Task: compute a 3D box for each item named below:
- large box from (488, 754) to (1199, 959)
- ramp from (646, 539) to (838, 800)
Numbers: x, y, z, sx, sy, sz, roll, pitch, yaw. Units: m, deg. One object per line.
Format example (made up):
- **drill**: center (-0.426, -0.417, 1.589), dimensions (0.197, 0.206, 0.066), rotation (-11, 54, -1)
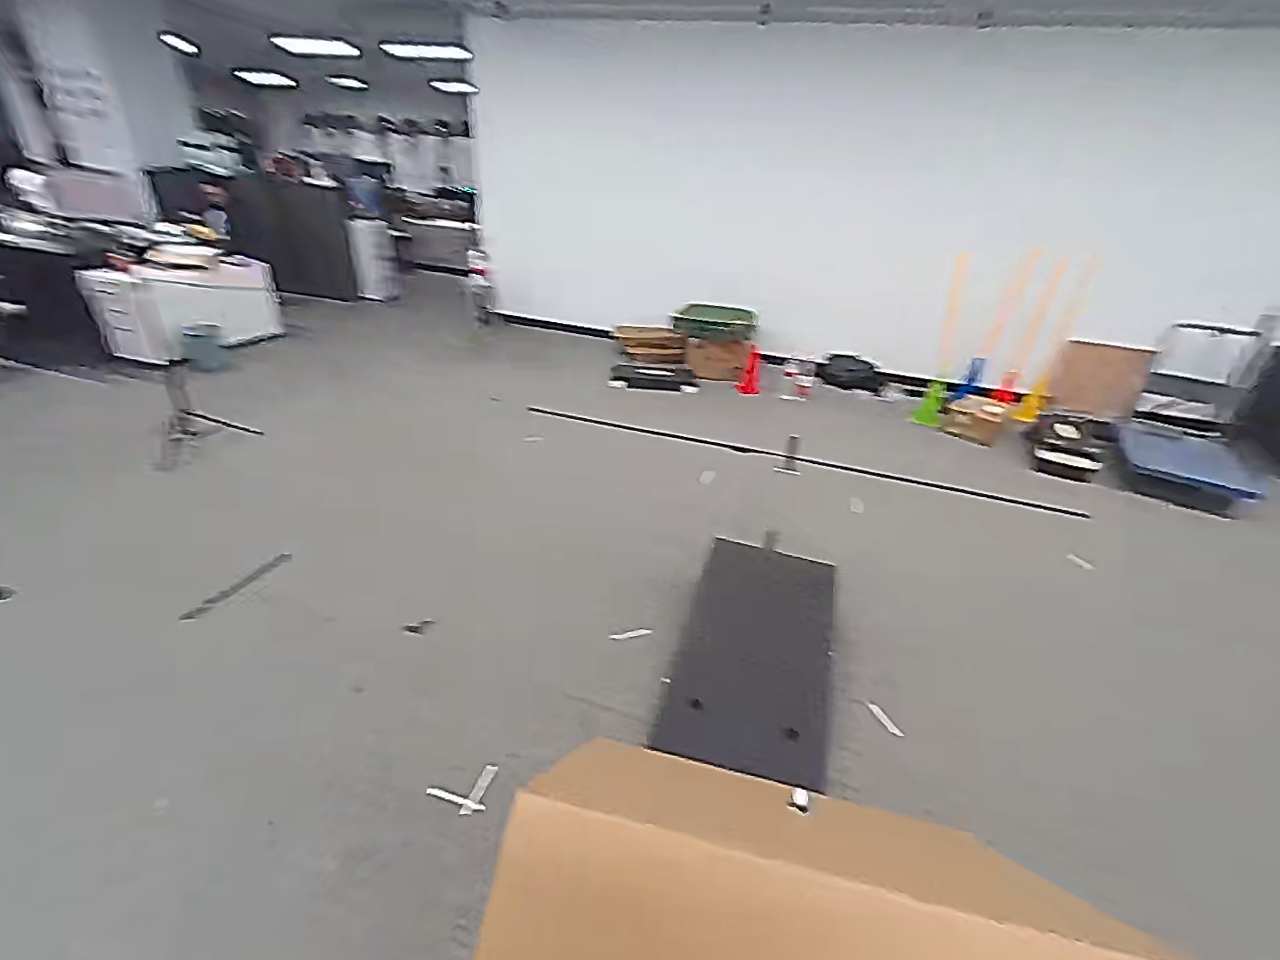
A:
- **large box**: center (0.101, 0.427, 0.406), dimensions (0.408, 0.320, 0.320), rotation (9, 72, 7)
- **ramp**: center (0.377, 0.594, 1.767), dimensions (0.509, 0.206, 0.991), rotation (12, 31, 12)
